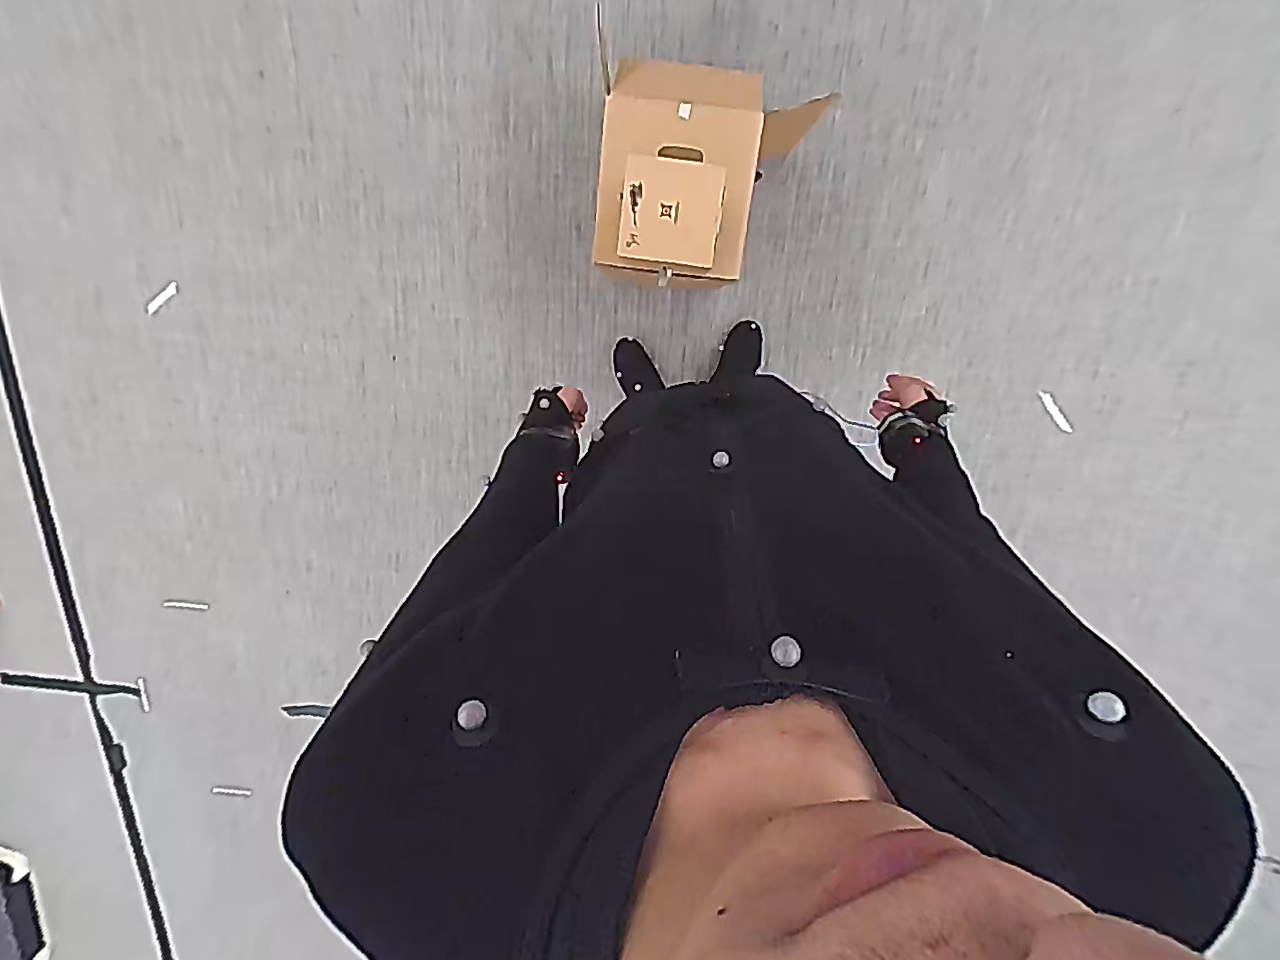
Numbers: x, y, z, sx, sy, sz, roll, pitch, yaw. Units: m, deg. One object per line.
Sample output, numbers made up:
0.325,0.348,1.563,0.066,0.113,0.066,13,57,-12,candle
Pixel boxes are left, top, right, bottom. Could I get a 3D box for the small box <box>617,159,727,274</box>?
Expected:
0.056,-0.491,1.032,0.179,0.176,0.168,8,108,-1,small box
